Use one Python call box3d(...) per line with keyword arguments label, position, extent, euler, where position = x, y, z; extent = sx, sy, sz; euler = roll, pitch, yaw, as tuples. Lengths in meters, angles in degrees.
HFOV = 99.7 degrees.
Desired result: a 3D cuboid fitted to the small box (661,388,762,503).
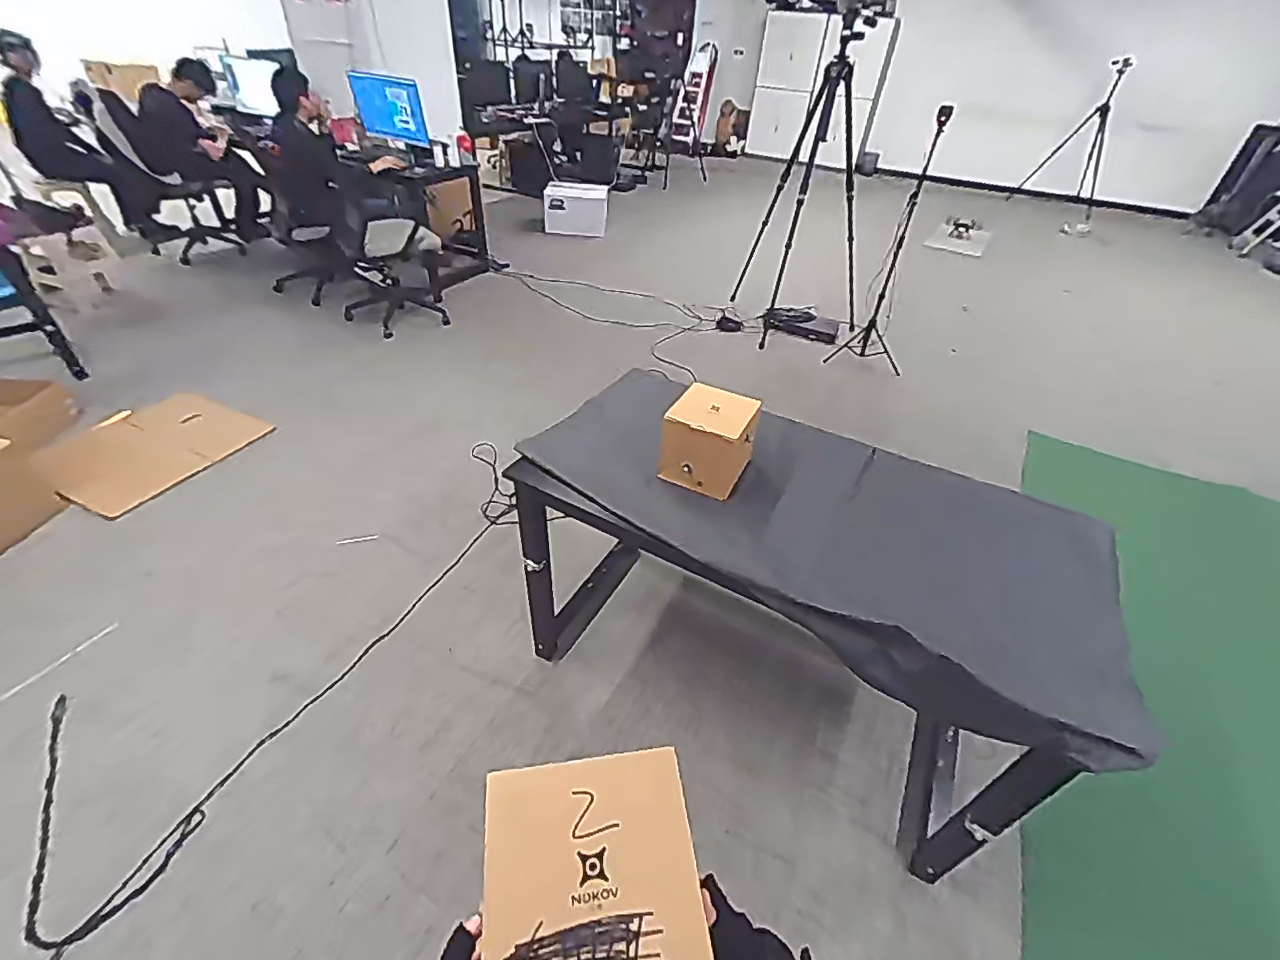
box3d(label="small box", position=(0.158, -0.079, 1.231), extent=(0.168, 0.176, 0.179), euler=(21, 43, 18))
